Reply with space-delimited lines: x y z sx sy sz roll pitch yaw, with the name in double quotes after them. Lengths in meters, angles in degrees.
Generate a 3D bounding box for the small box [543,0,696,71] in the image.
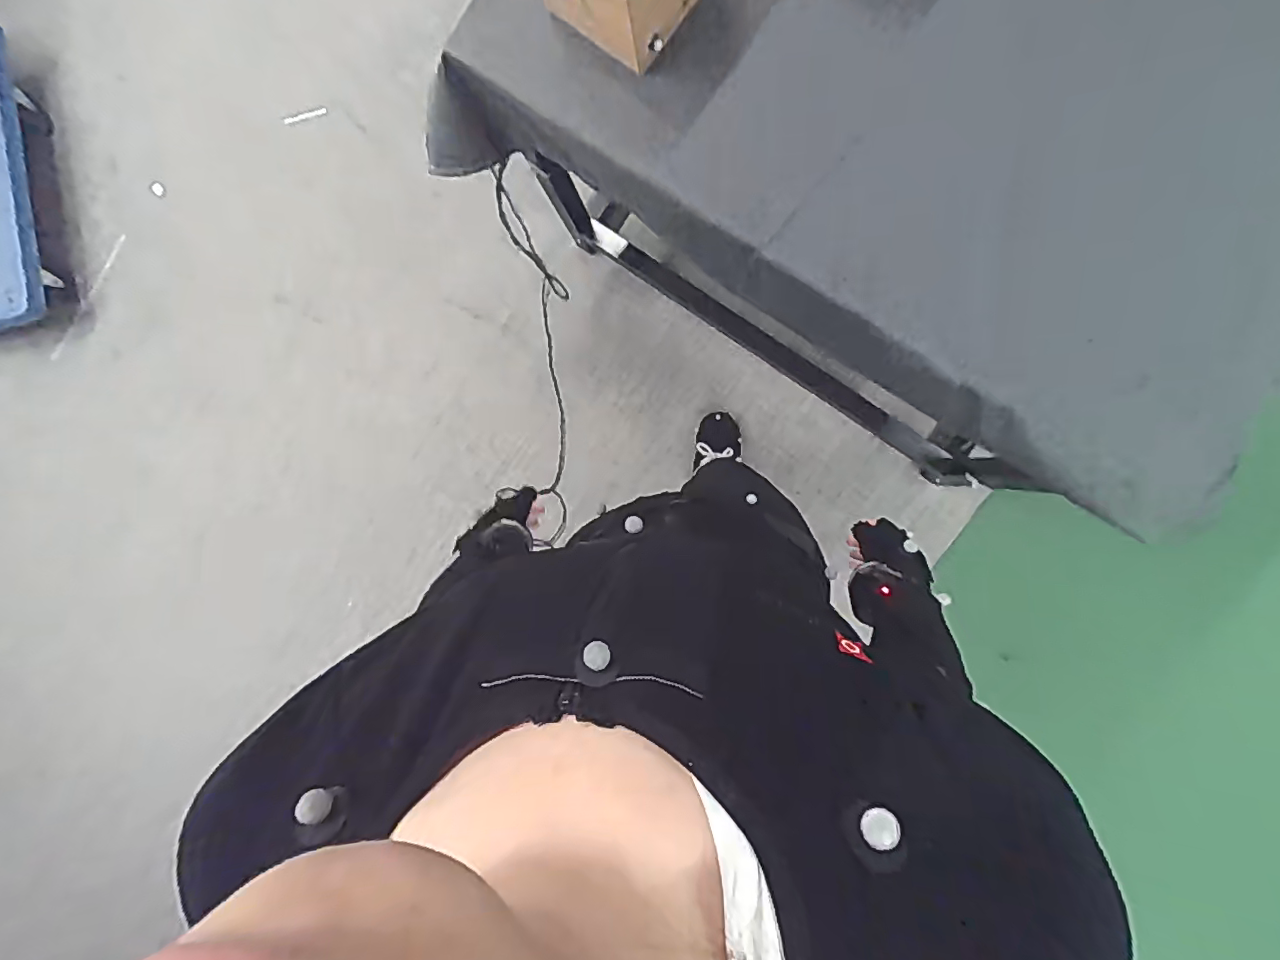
-0.028 -0.677 0.687 0.179 0.176 0.168 39 95 5 "small box"
